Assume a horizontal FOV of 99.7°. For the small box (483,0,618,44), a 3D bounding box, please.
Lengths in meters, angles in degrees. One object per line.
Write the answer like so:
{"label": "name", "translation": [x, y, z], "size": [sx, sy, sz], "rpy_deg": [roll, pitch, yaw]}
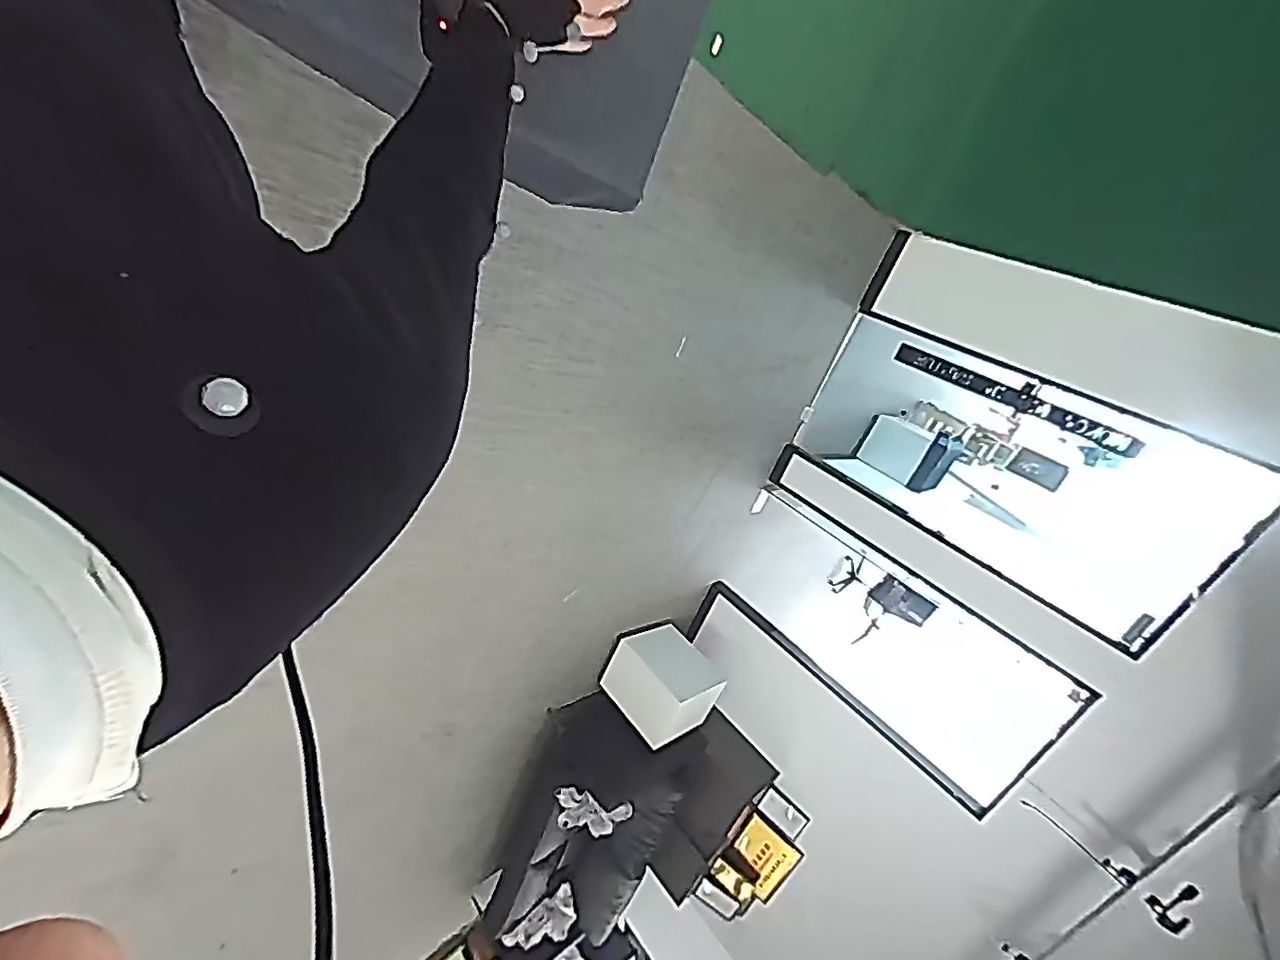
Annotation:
{"label": "small box", "translation": [-0.107, -0.637, 0.609], "size": [0.179, 0.176, 0.168], "rpy_deg": [-48, 147, -5]}
